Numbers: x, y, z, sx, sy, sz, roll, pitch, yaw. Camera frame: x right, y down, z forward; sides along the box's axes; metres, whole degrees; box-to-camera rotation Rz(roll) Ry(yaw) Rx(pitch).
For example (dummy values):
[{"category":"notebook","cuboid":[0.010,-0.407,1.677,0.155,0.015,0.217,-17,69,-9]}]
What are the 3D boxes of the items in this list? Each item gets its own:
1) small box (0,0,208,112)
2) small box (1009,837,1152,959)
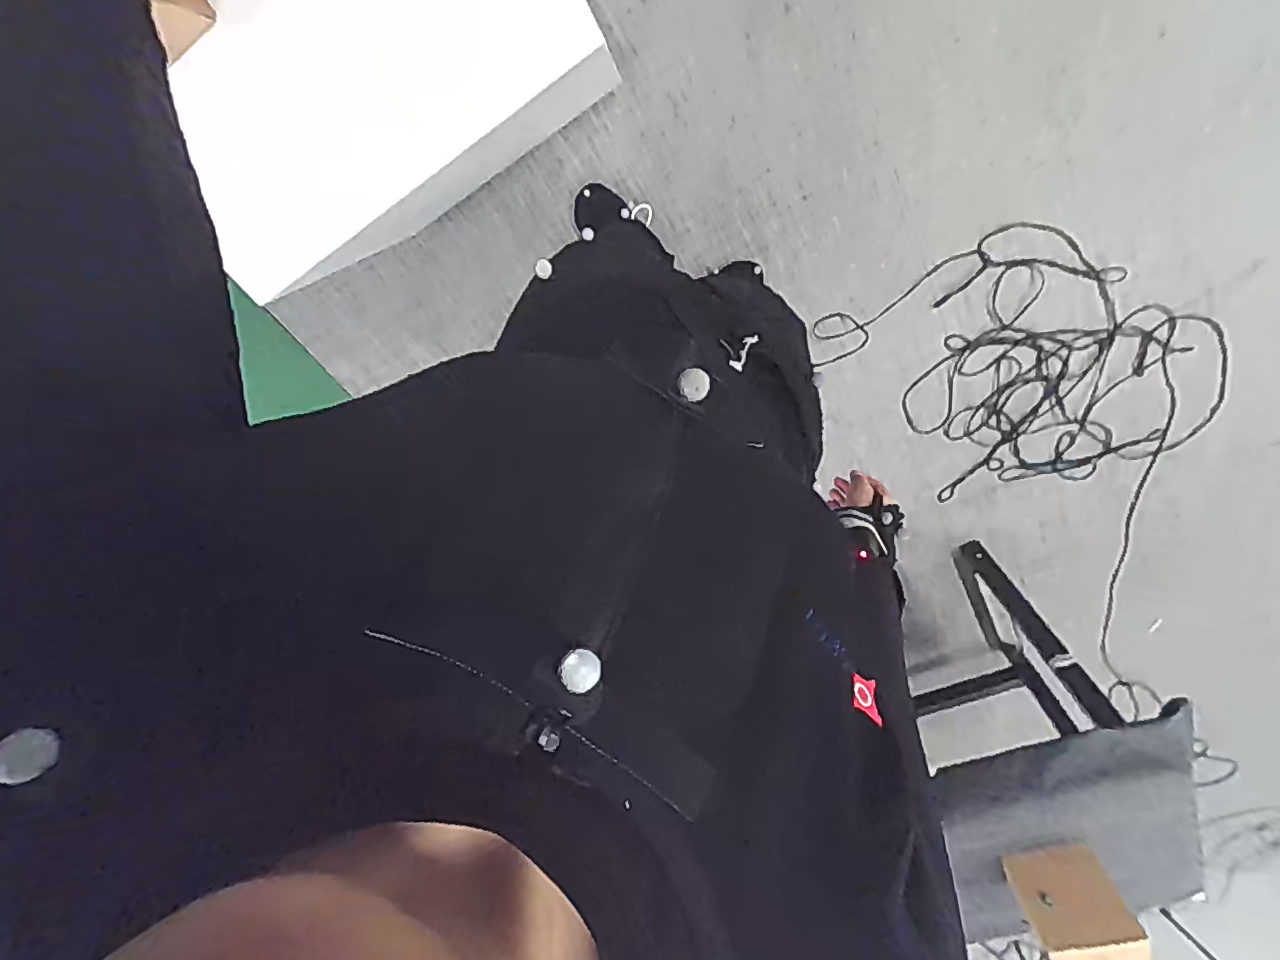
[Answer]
[{"category":"small box","cuboid":[-0.513,-0.424,0.425,0.168,0.176,0.179,-27,120,15]},{"category":"small box","cuboid":[0.896,0.875,1.117,0.179,0.176,0.168,-24,121,14]}]
